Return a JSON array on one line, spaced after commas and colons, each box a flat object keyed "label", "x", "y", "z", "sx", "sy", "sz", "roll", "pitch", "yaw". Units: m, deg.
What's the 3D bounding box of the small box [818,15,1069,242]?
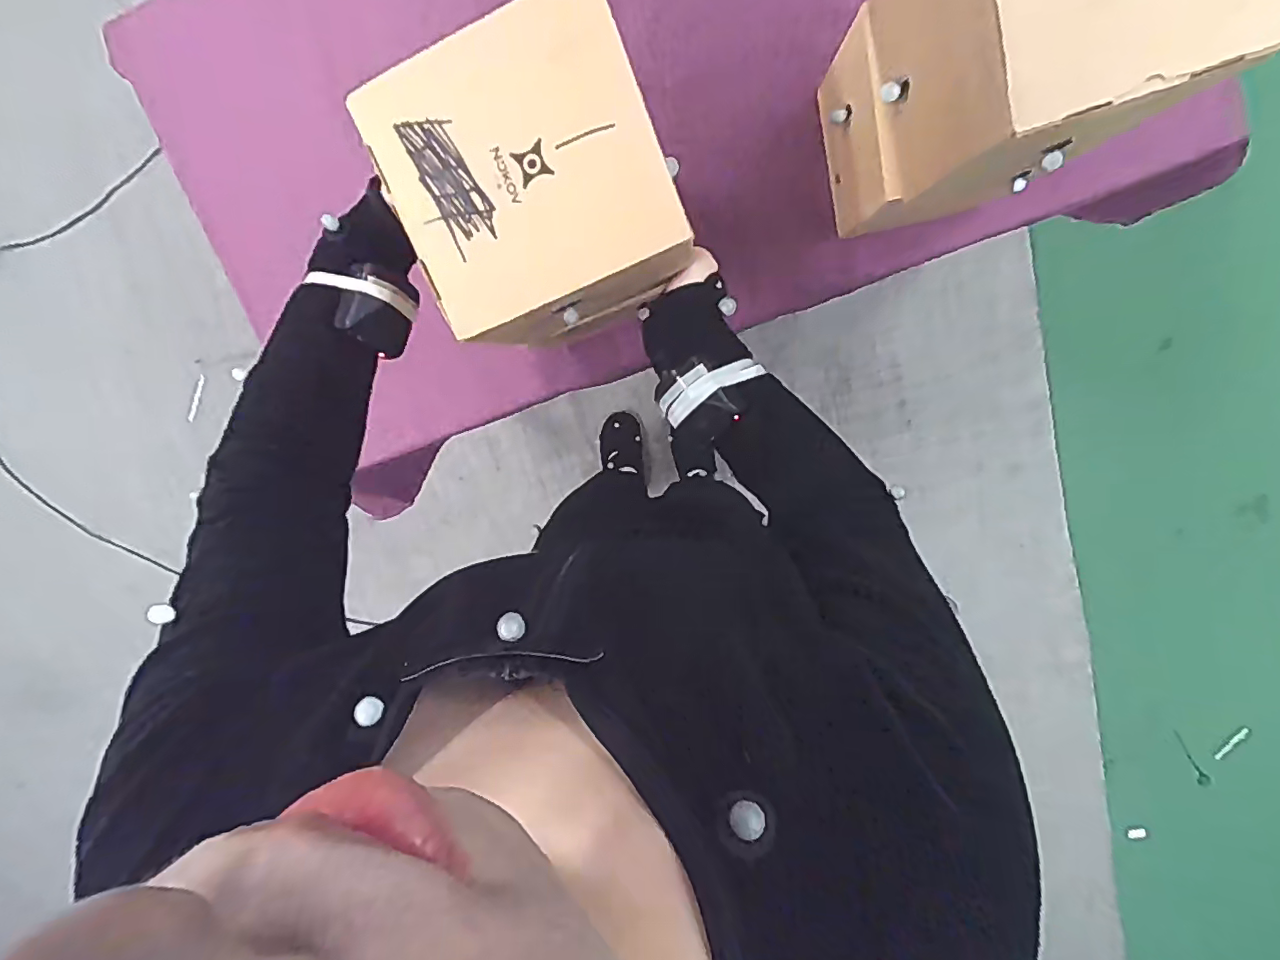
[{"label": "small box", "x": 0.294, "y": -0.363, "z": 0.559, "sx": 0.179, "sy": 0.176, "sz": 0.168, "roll": -12, "pitch": 101, "yaw": 6}]

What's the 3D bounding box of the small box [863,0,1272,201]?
[{"label": "small box", "x": 0.286, "y": -0.328, "z": 0.398, "sx": 0.168, "sy": 0.176, "sz": 0.179, "roll": -16, "pitch": 102, "yaw": 6}]
